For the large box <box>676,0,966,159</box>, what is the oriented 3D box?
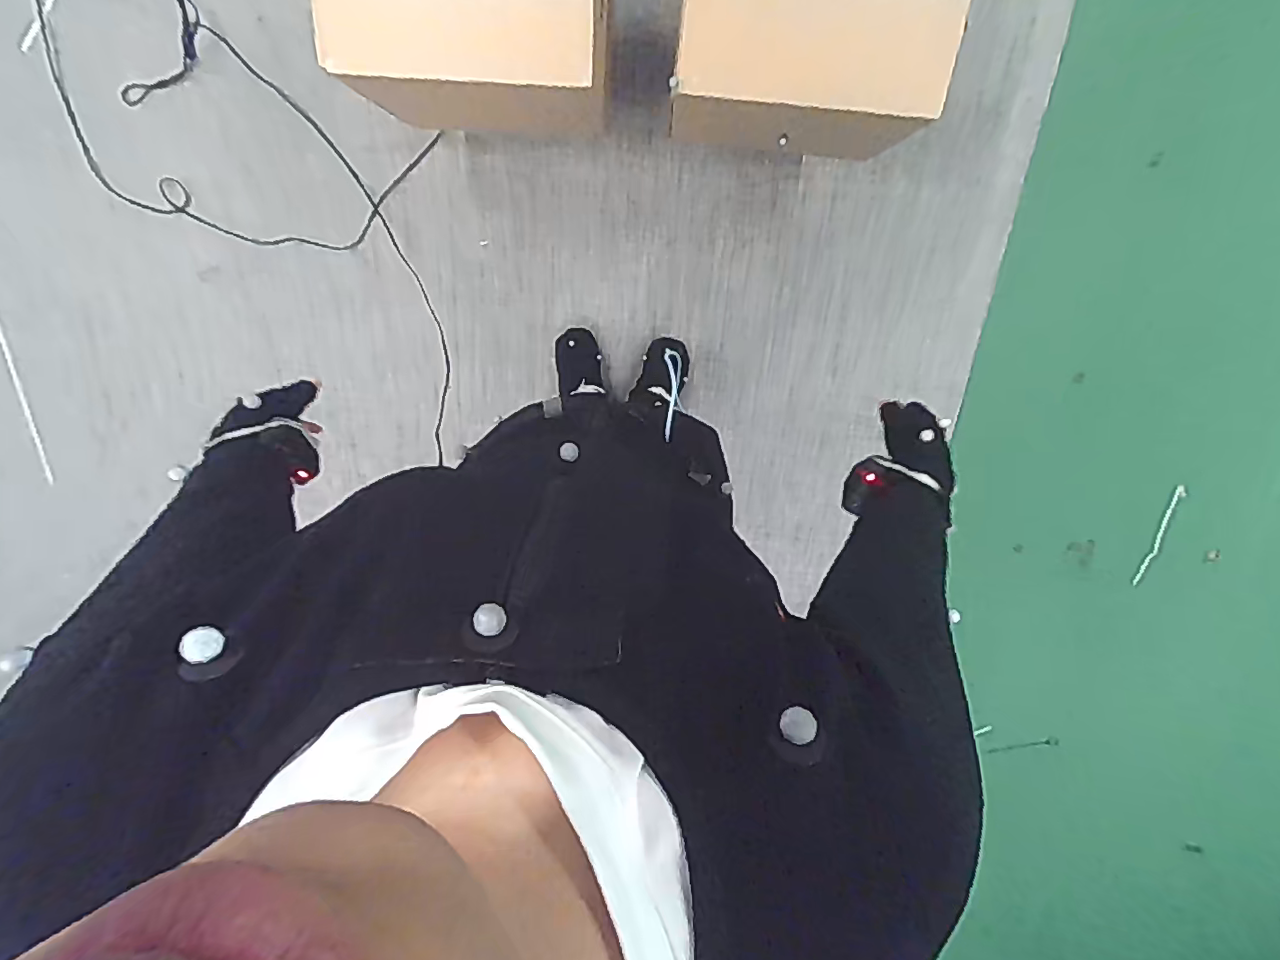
[{"bbox_3d":[0.279,-0.759,0.917,0.408,0.320,0.320,6,110,0],"label":"large box"}]
